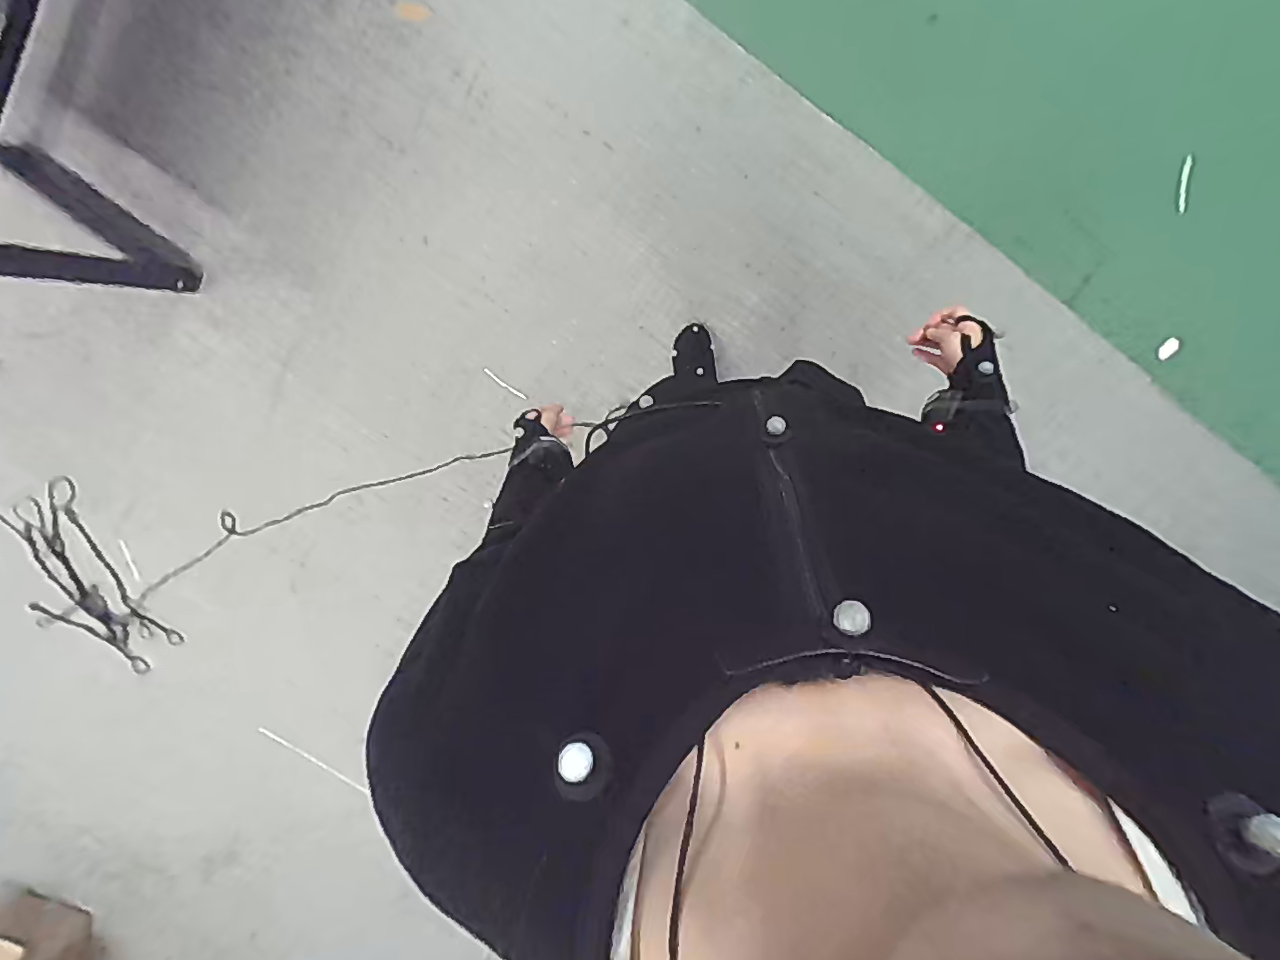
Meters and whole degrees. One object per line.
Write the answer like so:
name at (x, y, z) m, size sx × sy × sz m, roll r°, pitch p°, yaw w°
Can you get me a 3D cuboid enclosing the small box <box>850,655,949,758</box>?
small box at (0.734, 0.641, 1.543) m, size 0.168 × 0.176 × 0.179 m, roll -33°, pitch 100°, yaw 12°
